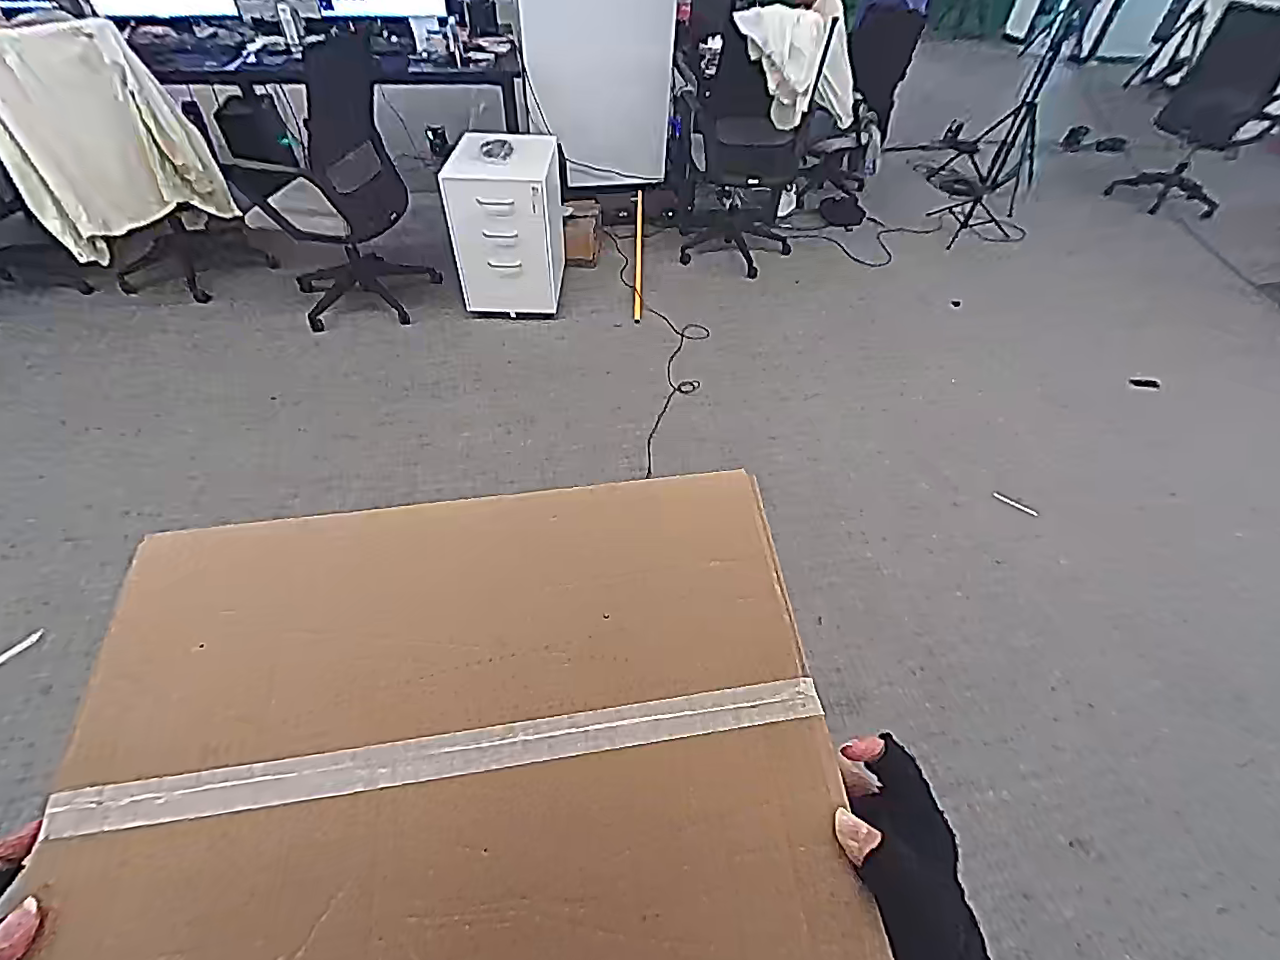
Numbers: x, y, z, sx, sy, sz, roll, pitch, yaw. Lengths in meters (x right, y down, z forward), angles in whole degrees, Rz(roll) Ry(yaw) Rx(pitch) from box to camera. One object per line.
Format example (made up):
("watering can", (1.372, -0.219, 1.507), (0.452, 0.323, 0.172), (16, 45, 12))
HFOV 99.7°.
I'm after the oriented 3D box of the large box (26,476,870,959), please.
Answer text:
("large box", (-0.104, 0.225, 0.435), (0.408, 0.320, 0.320), (-6, 59, -5))
